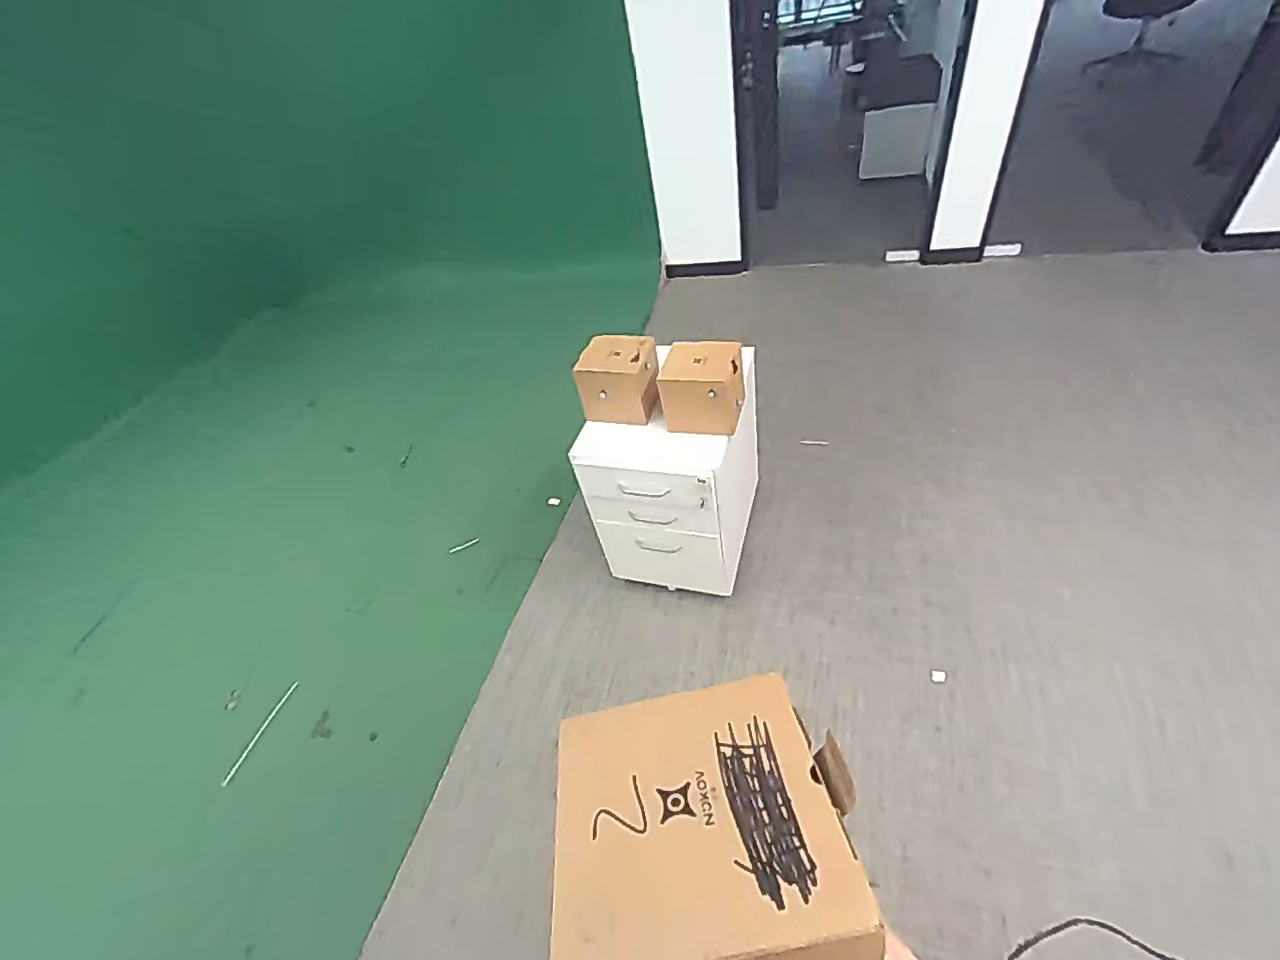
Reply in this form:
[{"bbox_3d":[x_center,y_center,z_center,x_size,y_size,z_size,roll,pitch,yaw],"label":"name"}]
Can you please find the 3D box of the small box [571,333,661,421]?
[{"bbox_3d":[-0.057,-0.273,1.433,0.179,0.176,0.168,6,49,19],"label":"small box"}]
